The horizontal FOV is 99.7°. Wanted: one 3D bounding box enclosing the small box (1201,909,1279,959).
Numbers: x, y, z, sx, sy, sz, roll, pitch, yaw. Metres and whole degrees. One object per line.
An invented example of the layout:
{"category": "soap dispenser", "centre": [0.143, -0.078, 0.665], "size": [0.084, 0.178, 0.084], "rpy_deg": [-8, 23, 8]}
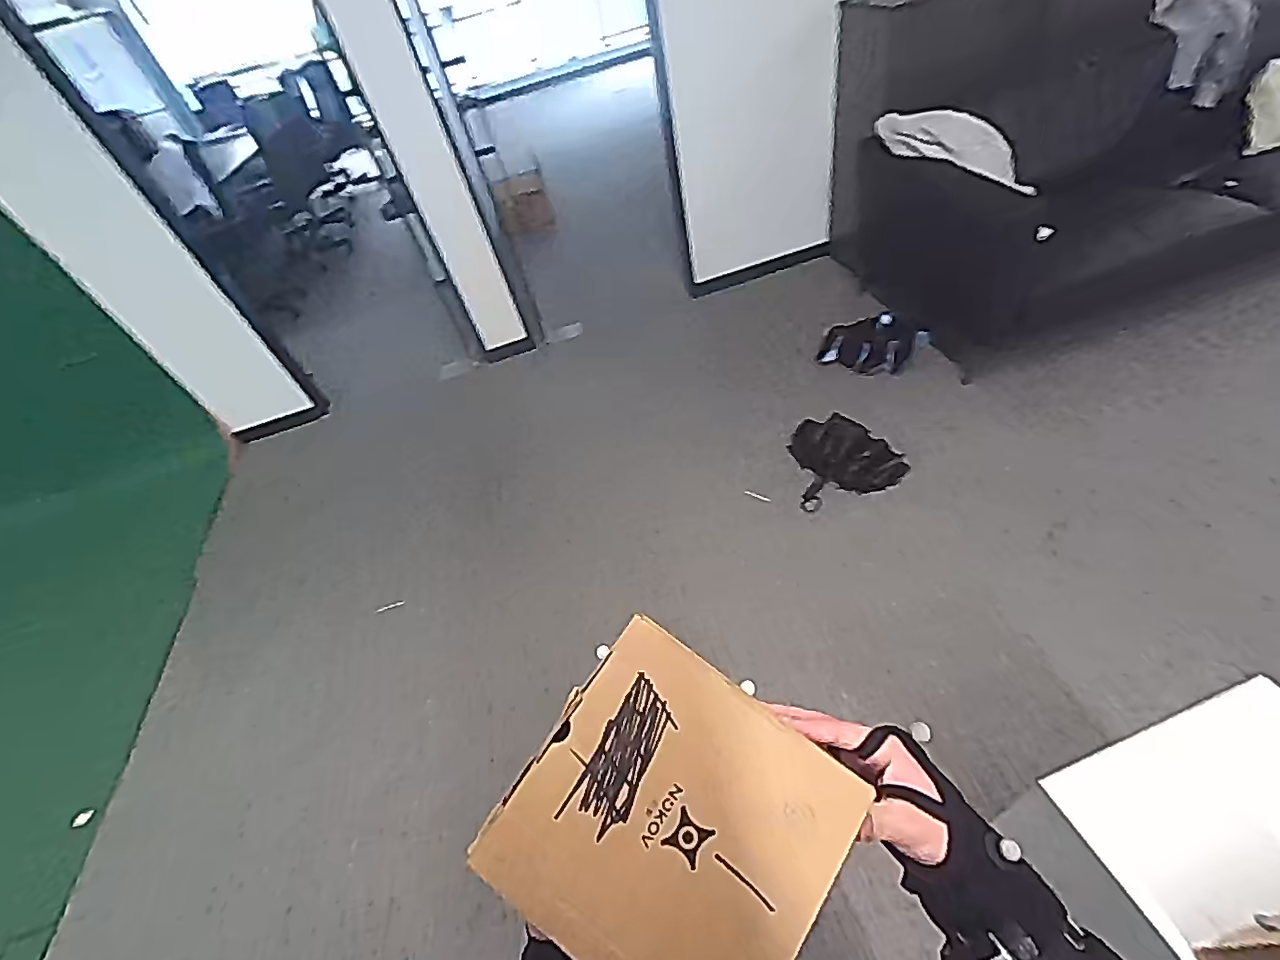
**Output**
{"category": "small box", "centre": [0.737, 0.540, 0.540], "size": [0.179, 0.176, 0.168], "rpy_deg": [-18, 47, -5]}
